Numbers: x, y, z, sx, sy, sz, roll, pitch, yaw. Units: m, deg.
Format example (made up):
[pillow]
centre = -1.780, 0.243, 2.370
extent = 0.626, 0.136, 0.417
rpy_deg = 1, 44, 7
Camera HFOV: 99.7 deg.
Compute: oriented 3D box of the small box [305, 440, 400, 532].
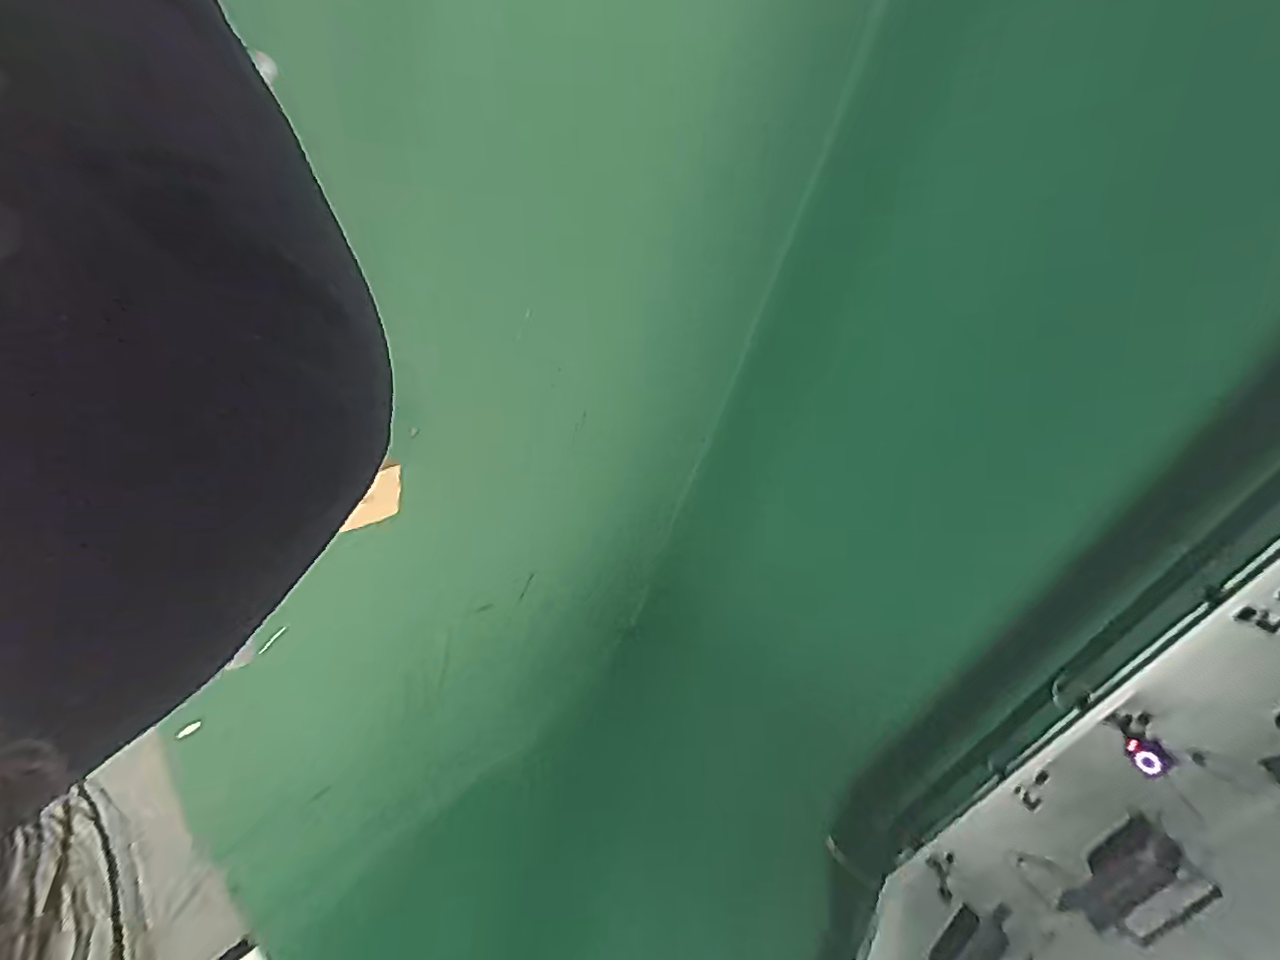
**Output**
[small box]
centre = -0.778, 0.006, 1.459
extent = 0.179, 0.176, 0.168
rpy_deg = -26, 141, -48
